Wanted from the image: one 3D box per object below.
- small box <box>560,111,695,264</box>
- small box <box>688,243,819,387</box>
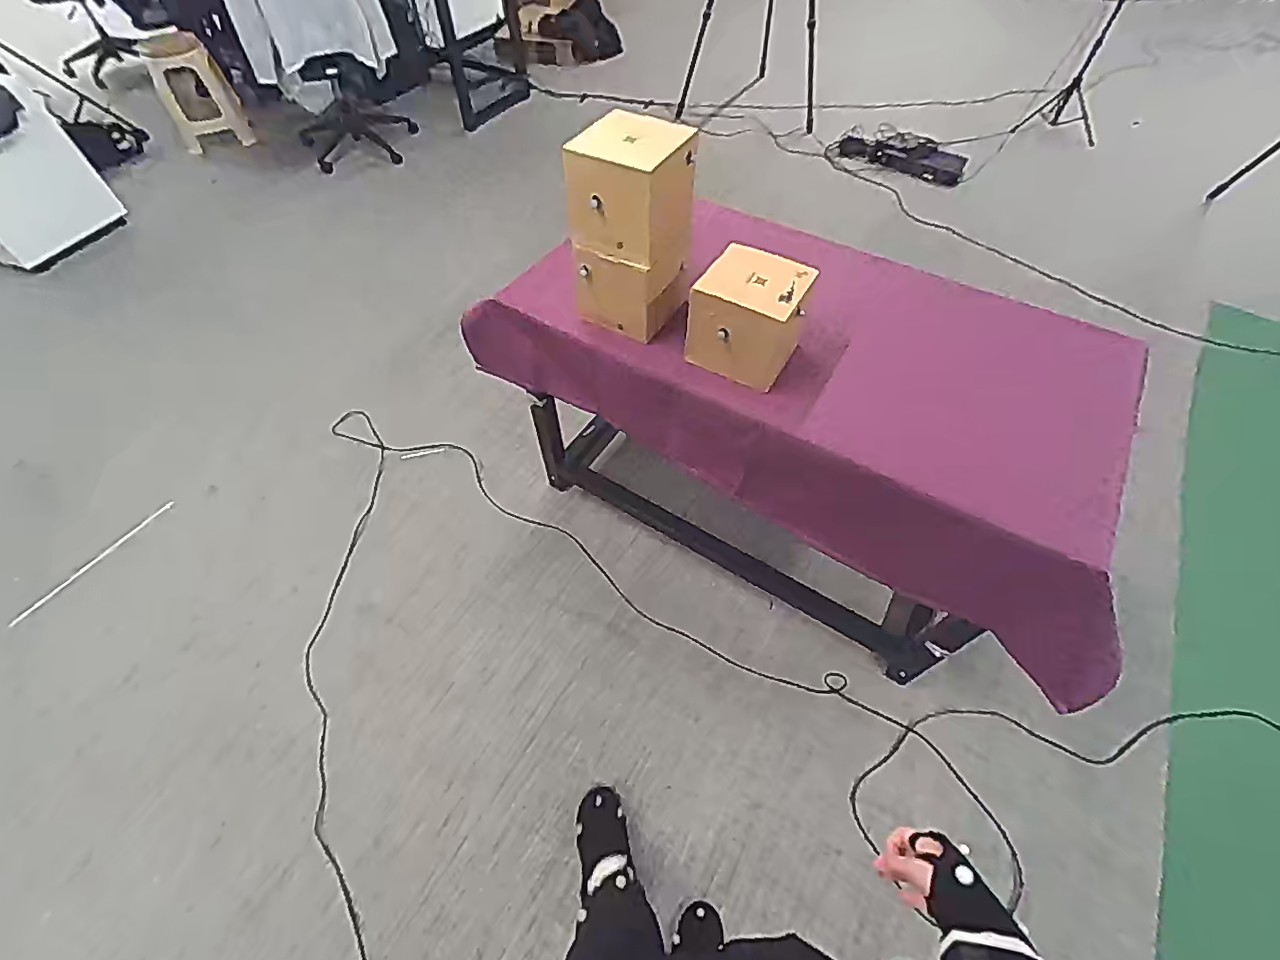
[{"bbox_3d":[-0.016,-0.512,0.953,0.168,0.176,0.179,24,57,16],"label":"small box"},{"bbox_3d":[0.200,-0.301,1.000,0.179,0.176,0.168,26,60,17],"label":"small box"}]
